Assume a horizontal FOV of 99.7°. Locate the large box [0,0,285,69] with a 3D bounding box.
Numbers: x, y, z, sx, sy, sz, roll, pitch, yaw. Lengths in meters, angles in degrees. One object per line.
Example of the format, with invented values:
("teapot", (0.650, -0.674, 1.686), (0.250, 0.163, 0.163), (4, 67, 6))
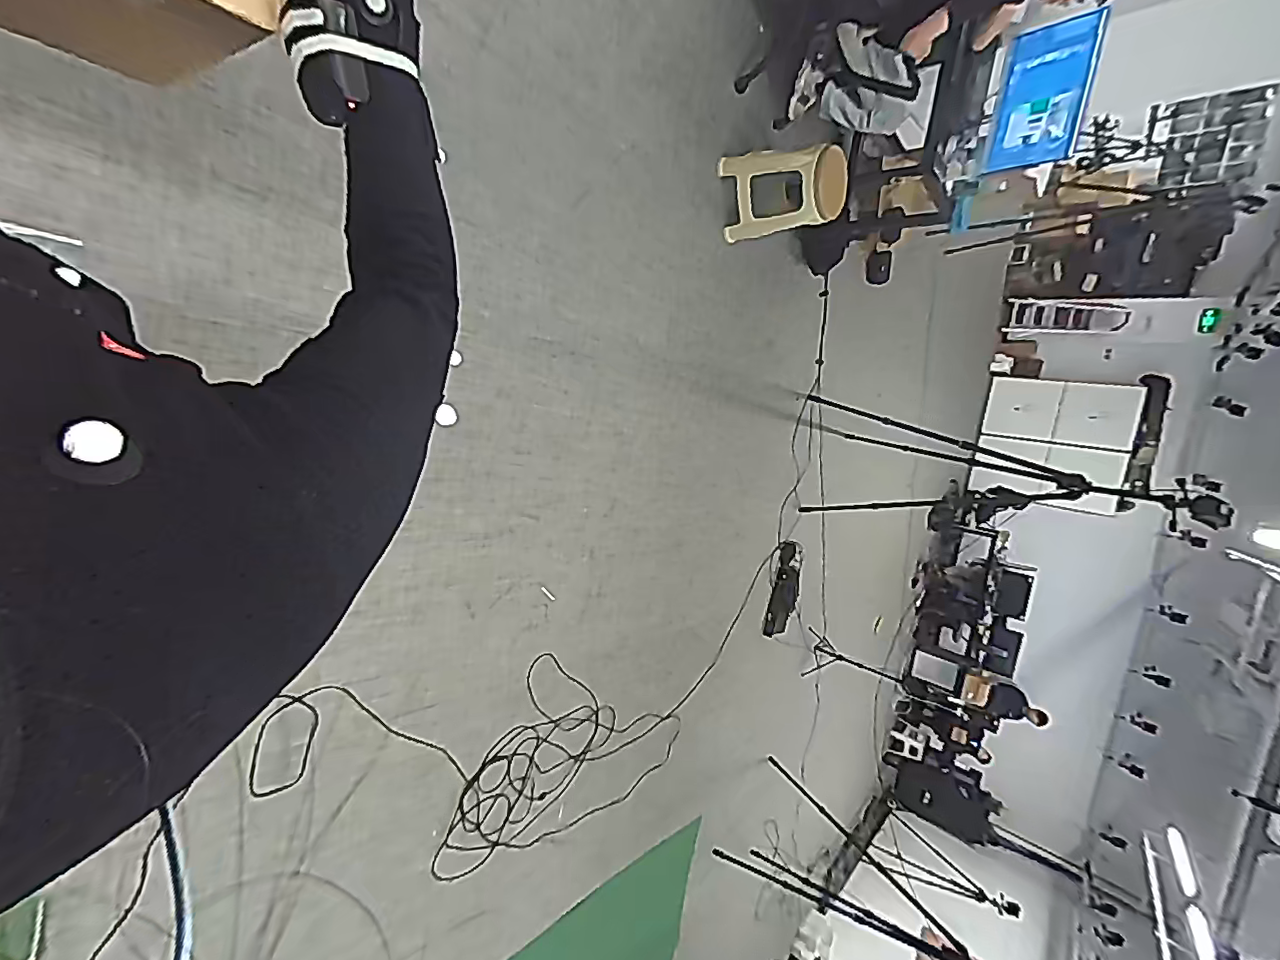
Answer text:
("large box", (-0.464, -0.502, 0.280), (0.408, 0.320, 0.320), (-7, 113, -53))
